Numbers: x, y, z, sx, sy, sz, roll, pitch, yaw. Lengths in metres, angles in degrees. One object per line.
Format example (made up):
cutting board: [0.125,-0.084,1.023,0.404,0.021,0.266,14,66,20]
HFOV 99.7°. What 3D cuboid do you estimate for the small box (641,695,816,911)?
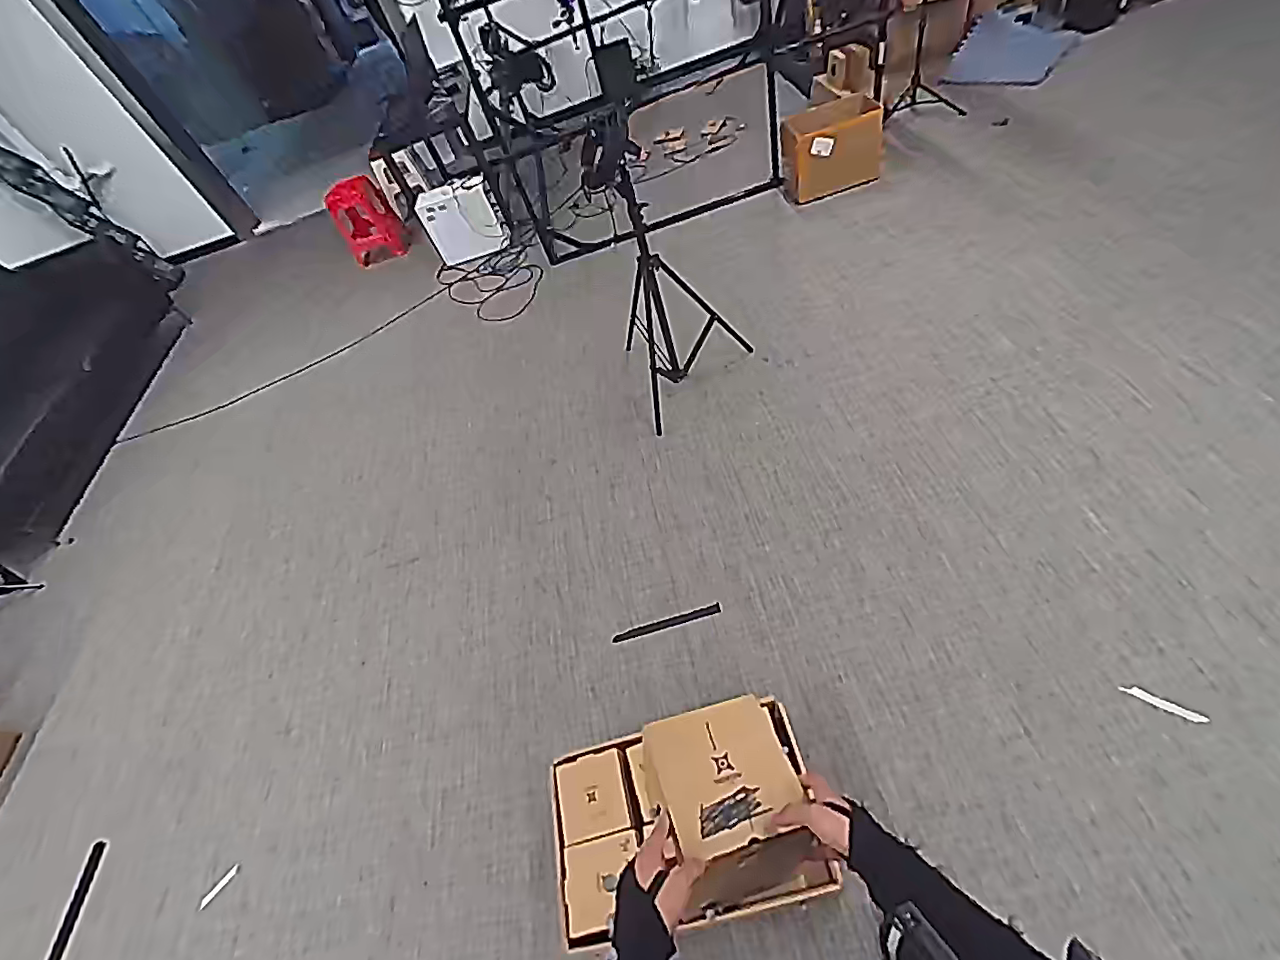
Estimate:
small box: [0.105,0.423,0.708,0.168,0.176,0.179,-11,36,-12]
